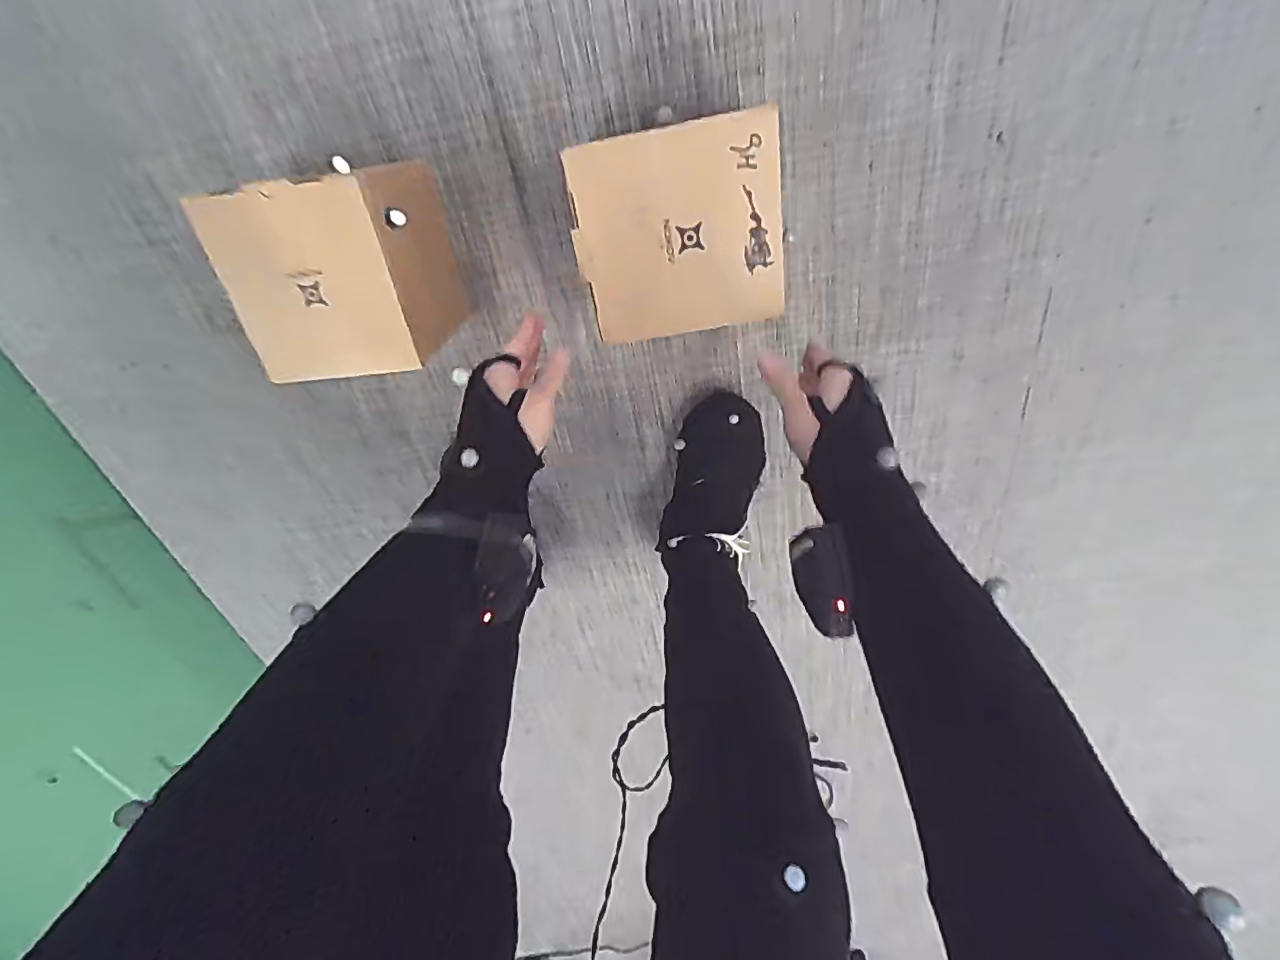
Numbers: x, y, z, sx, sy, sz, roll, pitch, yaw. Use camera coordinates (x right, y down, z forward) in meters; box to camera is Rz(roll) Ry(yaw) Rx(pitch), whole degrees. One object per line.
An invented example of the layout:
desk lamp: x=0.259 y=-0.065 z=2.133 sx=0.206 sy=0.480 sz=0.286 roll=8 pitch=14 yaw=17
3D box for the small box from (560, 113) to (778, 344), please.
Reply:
small box: x=0.036 y=-0.252 z=0.543 sx=0.179 sy=0.176 sz=0.168 roll=-7 pitch=122 yaw=8

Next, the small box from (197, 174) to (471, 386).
small box: x=-0.303 y=-0.220 z=0.586 sx=0.168 sy=0.176 sz=0.179 roll=-5 pitch=121 yaw=6
